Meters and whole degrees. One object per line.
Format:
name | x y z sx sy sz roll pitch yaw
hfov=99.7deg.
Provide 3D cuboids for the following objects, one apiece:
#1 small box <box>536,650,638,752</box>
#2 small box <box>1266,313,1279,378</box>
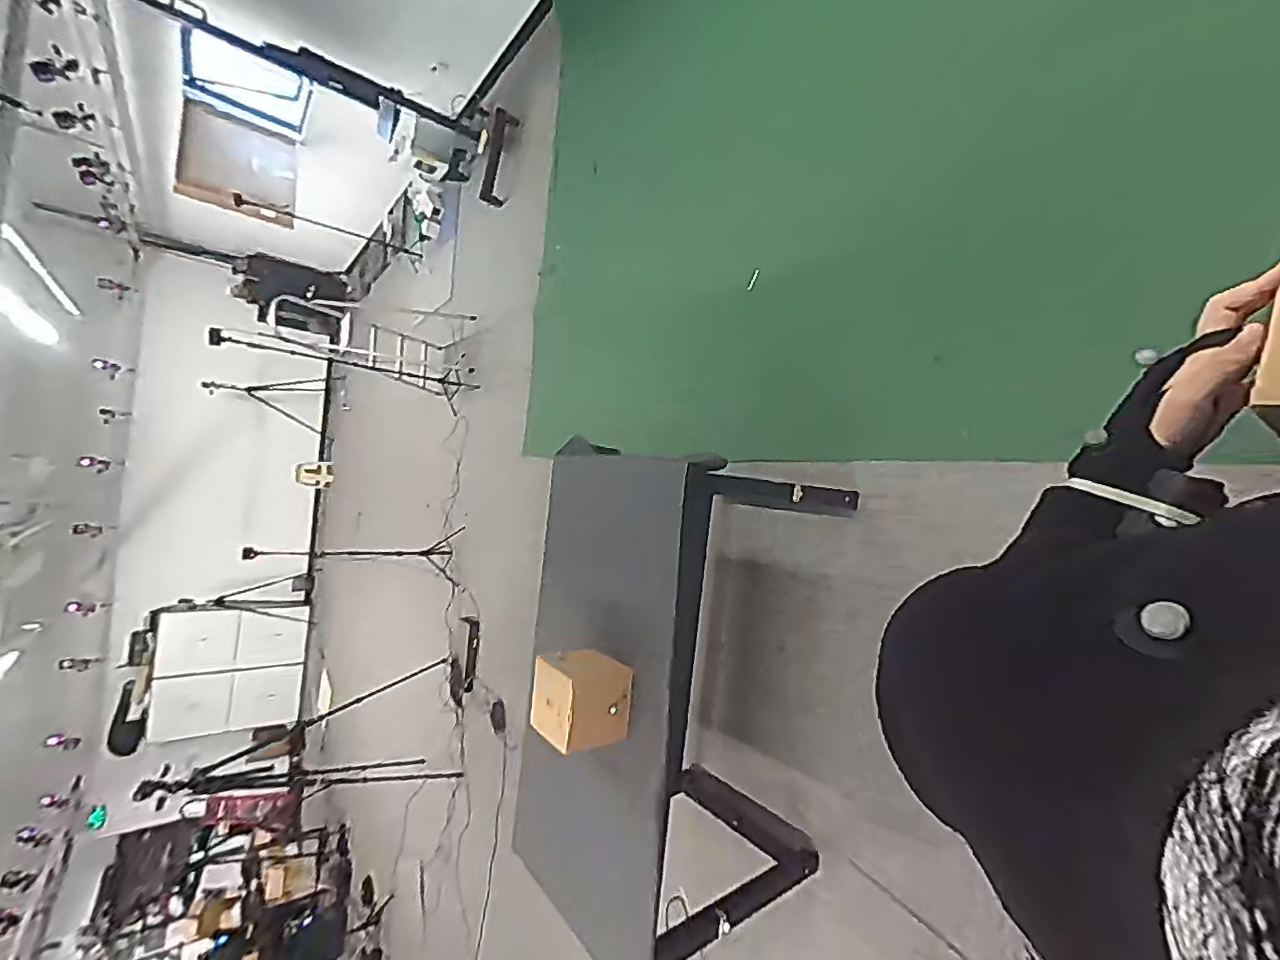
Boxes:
small box | -0.127 0.513 1.284 0.179 0.176 0.168 4 90 52
small box | 0.496 -0.125 0.298 0.168 0.176 0.179 15 98 54
